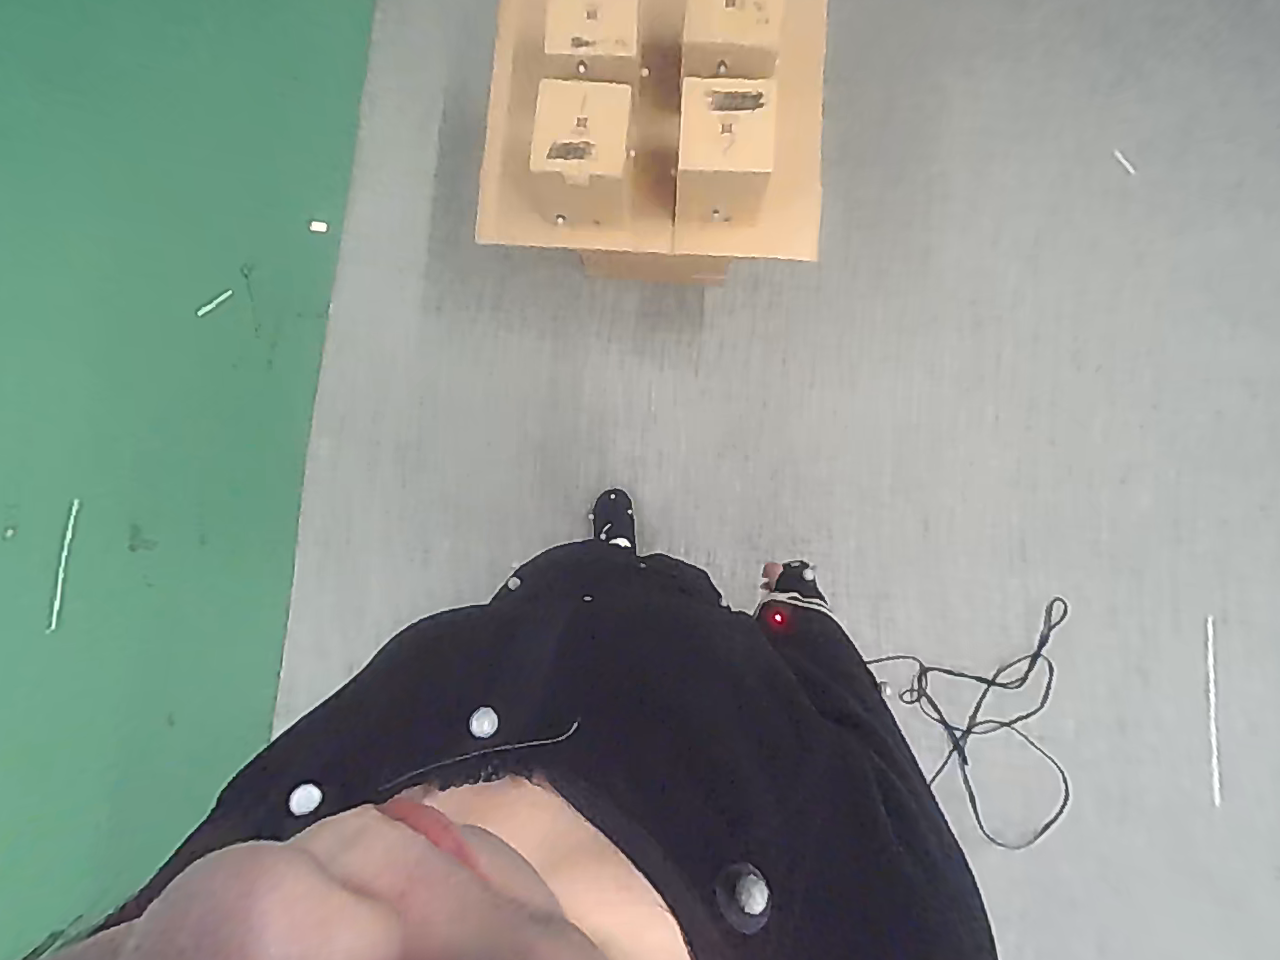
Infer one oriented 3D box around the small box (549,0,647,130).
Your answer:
[{"bbox_3d":[-0.074,-0.822,1.047,0.168,0.176,0.179,3,83,3],"label":"small box"}]
